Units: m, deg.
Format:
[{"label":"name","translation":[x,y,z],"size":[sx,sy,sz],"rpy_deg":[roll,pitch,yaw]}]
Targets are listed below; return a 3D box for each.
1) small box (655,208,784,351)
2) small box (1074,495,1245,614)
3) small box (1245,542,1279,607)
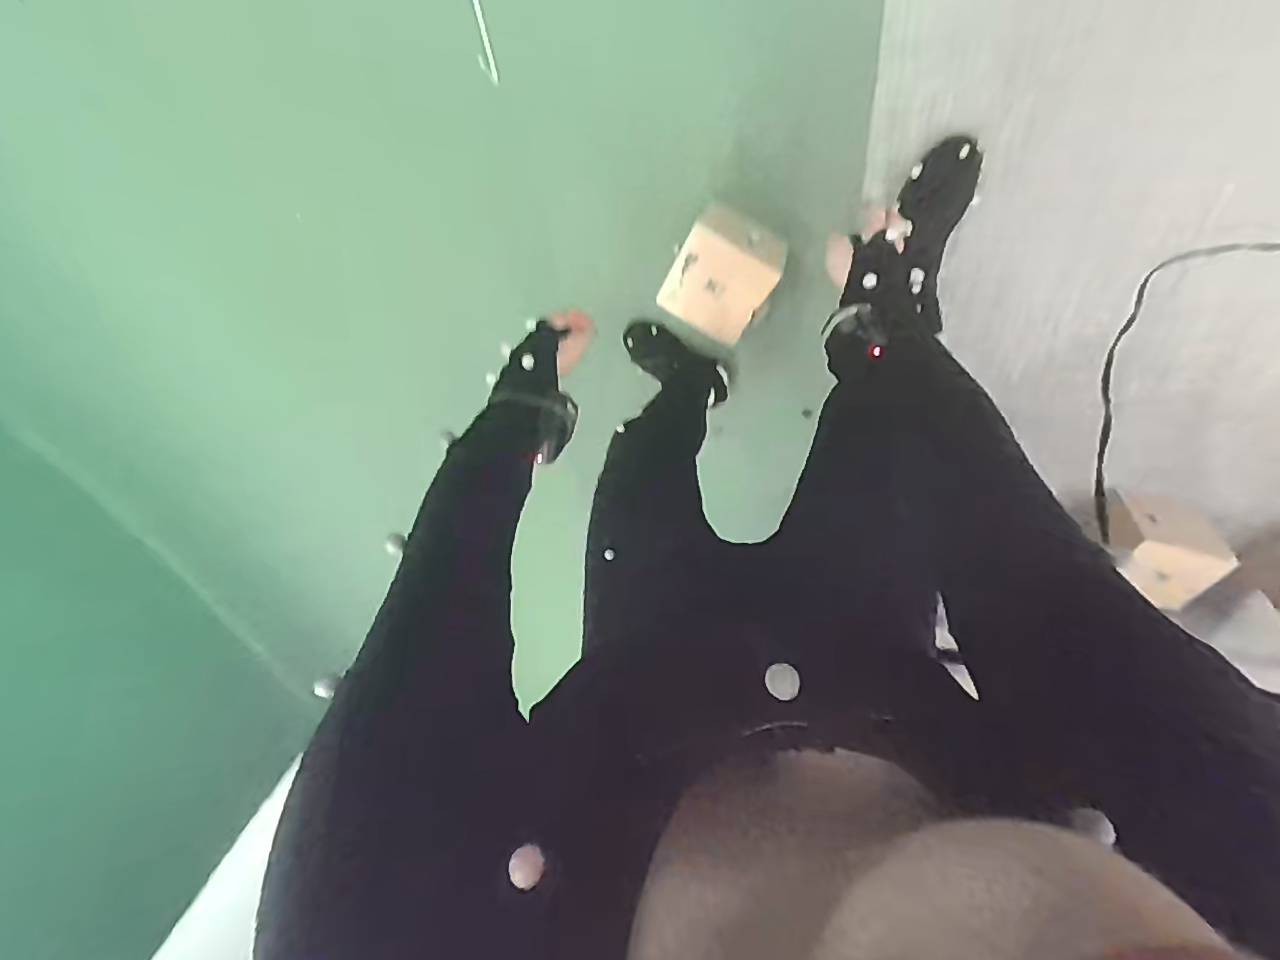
[{"label":"small box","translation":[0.156,-0.384,1.025],"size":[0.179,0.176,0.168],"rpy_deg":[29,133,-6]},{"label":"small box","translation":[1.087,0.153,1.156],"size":[0.179,0.176,0.168],"rpy_deg":[13,132,7]},{"label":"small box","translation":[1.416,0.210,1.092],"size":[0.168,0.176,0.179],"rpy_deg":[28,133,-5]}]
